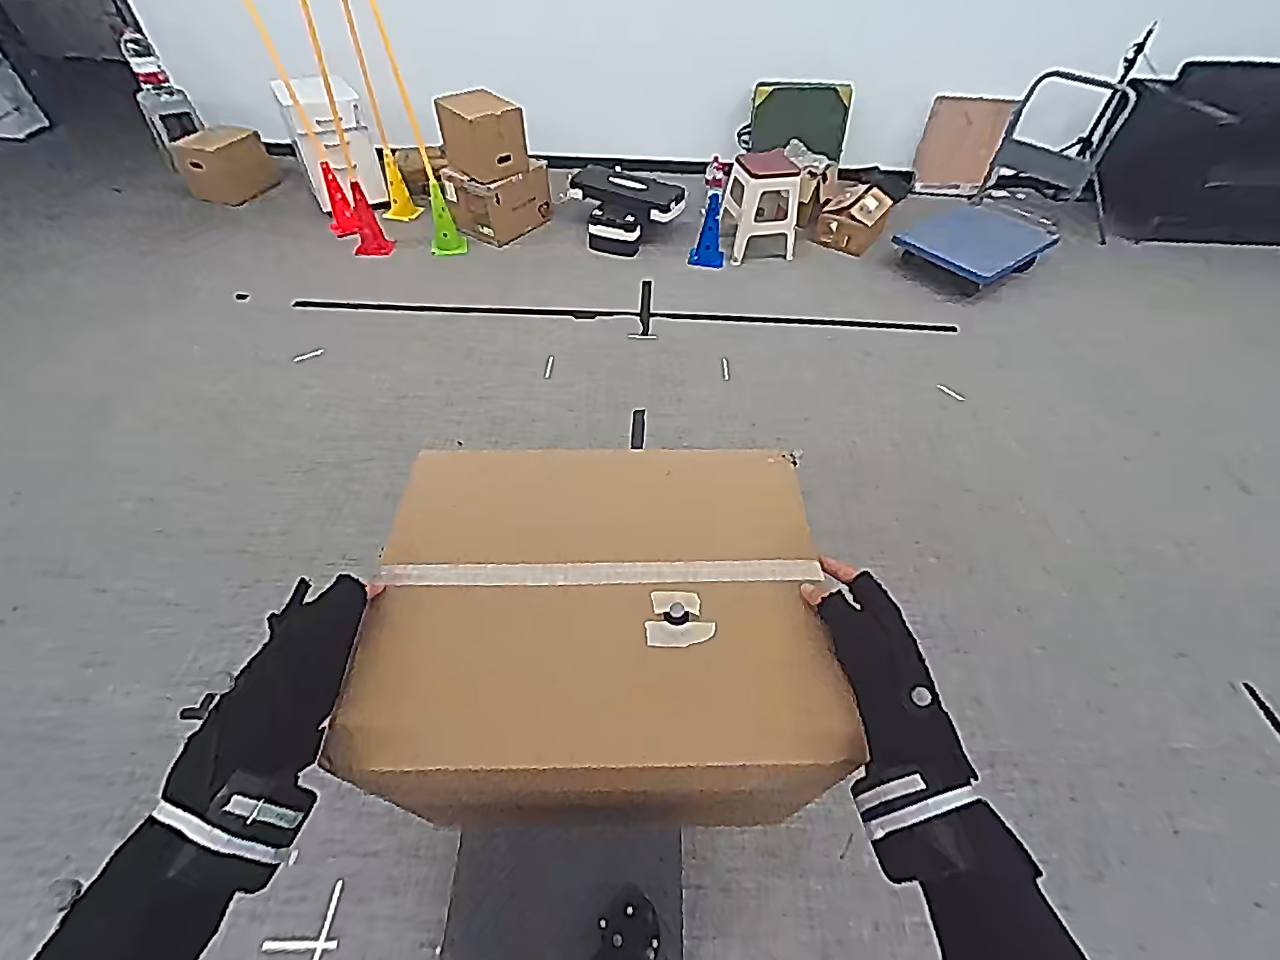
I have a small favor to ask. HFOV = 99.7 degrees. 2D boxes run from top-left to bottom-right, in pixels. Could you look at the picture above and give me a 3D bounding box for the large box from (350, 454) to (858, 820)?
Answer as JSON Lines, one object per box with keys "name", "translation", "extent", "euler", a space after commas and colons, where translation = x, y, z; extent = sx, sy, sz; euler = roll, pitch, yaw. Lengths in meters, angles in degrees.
{"name": "large box", "translation": [-0.033, 0.184, 0.624], "extent": [0.408, 0.320, 0.320], "euler": [0, 51, -1]}
